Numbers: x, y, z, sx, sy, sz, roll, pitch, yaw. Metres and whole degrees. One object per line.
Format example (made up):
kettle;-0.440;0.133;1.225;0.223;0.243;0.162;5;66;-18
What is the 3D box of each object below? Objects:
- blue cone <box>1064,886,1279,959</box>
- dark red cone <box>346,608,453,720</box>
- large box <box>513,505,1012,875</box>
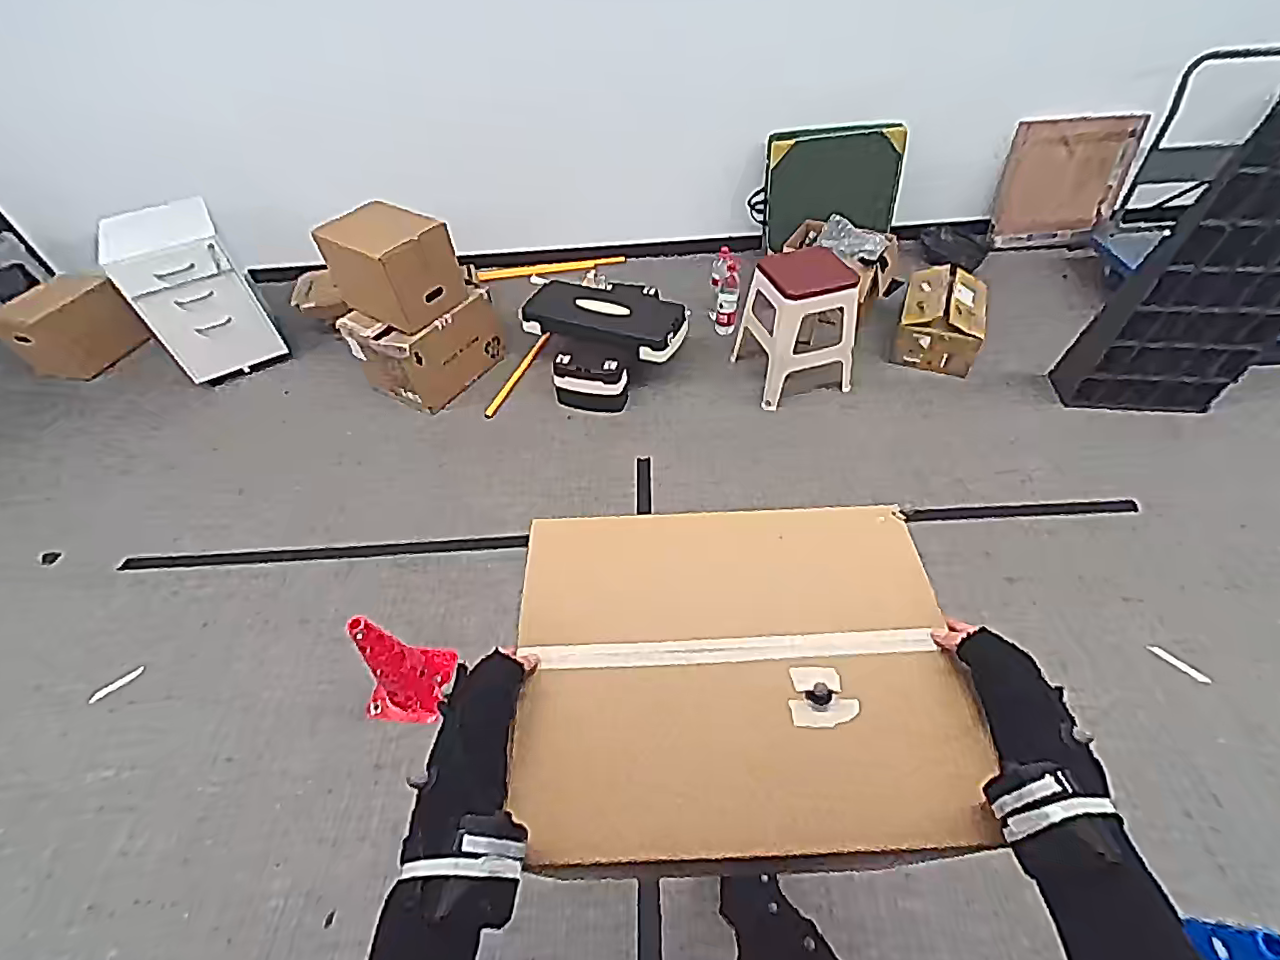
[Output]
blue cone;0.951;0.805;0.935;0.192;0.380;0.193;0;49;3
dark red cone;-0.627;0.431;1.335;0.201;0.394;0.202;2;49;5
large box;0.092;0.250;0.629;0.408;0.320;0.320;-2;52;-1
